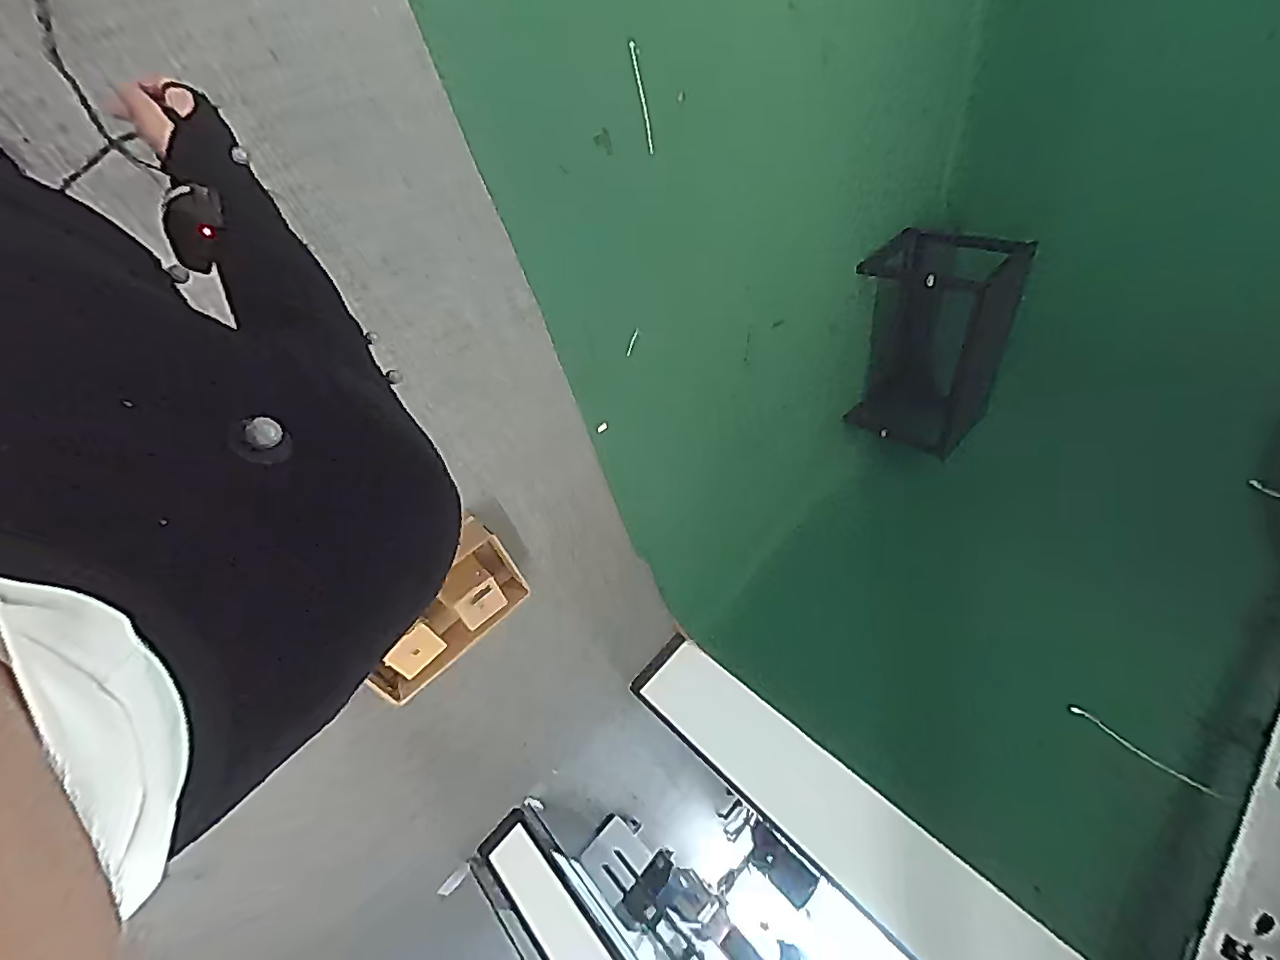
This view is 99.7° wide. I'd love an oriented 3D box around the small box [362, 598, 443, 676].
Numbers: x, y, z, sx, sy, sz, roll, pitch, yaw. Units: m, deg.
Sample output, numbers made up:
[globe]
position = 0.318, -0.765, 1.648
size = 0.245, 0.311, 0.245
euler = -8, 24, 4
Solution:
[small box]
position = -0.834, 0.546, 1.897
size = 0.168, 0.176, 0.179
euler = -42, 138, -20
